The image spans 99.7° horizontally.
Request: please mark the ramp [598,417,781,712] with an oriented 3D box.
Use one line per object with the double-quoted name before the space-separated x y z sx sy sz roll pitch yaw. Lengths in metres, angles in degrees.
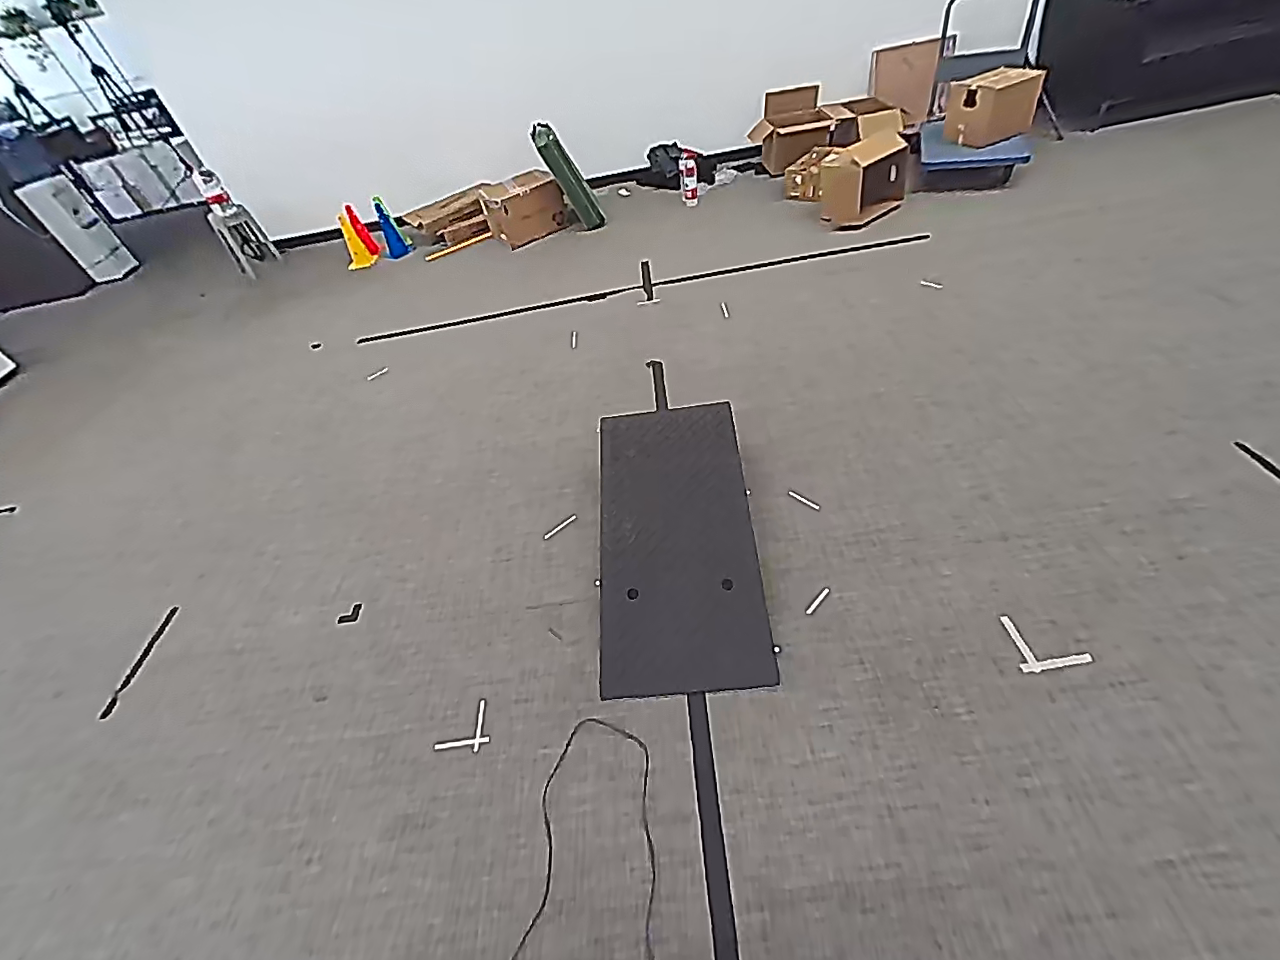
"ramp" 0.113 0.204 1.756 0.509 0.206 0.991 -9 44 4
